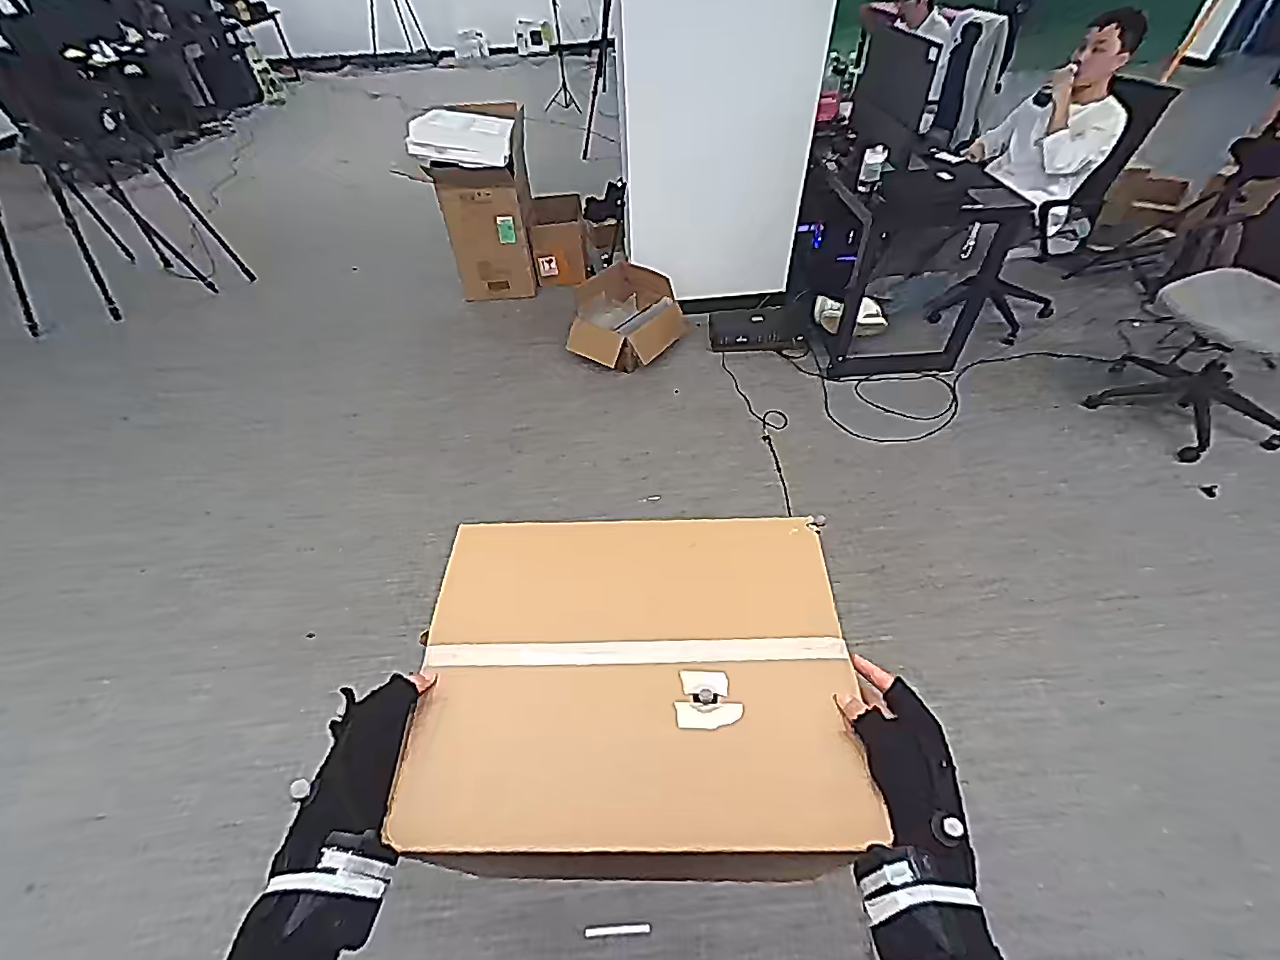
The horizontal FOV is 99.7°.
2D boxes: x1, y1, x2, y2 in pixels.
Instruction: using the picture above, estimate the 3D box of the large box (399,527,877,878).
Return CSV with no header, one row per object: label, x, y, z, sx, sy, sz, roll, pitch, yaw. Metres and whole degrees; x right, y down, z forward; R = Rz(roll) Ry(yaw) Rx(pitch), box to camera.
large box,-0.001,0.272,0.649,0.408,0.320,0.320,-1,51,2
